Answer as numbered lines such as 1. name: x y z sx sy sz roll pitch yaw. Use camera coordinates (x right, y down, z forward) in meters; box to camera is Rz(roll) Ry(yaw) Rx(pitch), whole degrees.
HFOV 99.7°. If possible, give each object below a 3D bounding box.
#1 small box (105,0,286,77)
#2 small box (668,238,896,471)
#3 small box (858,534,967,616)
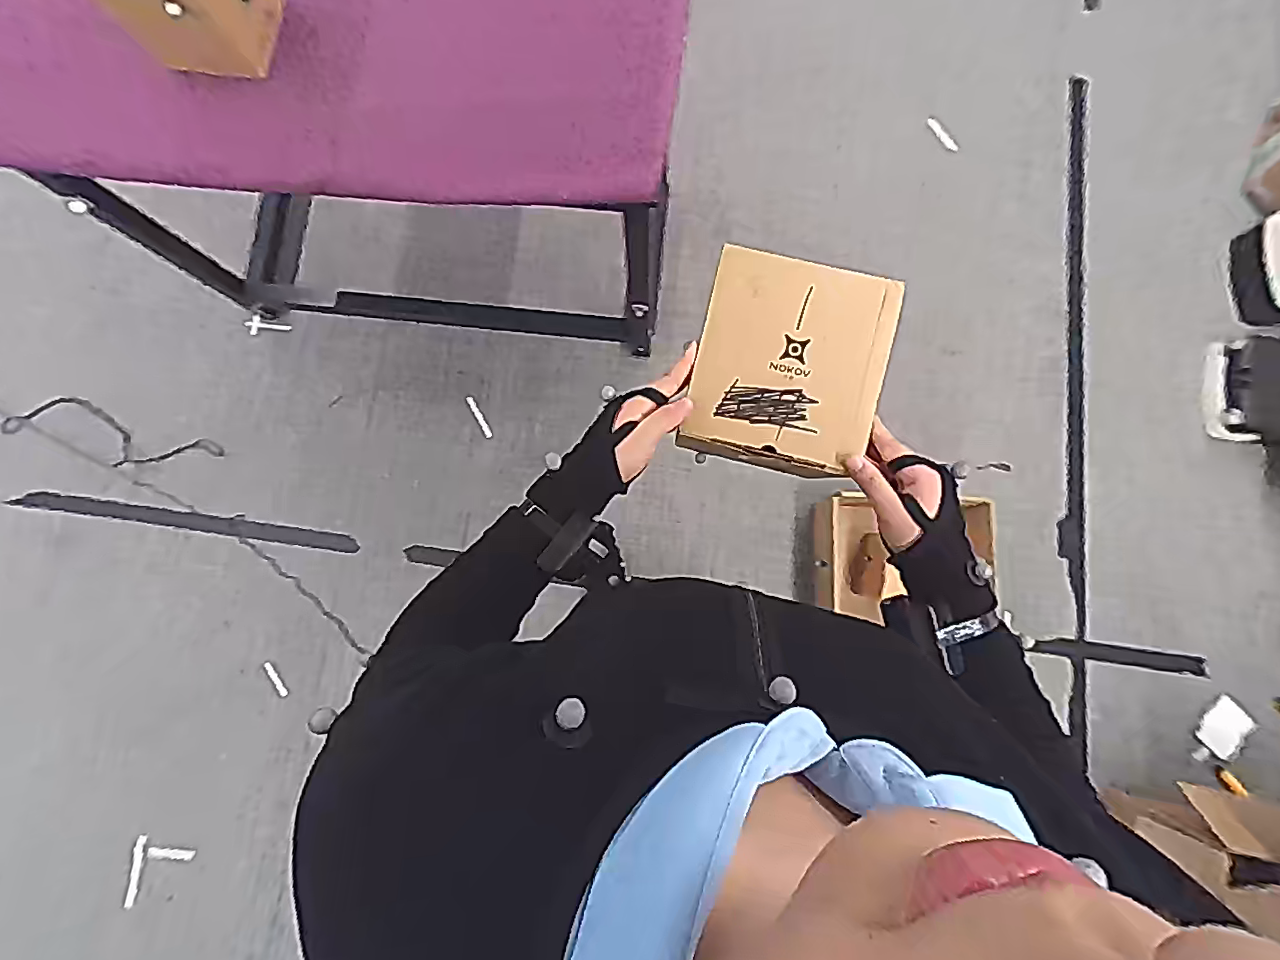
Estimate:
1. small box: -0.694 -0.770 0.836 0.179 0.176 0.168 8 82 2
2. small box: 0.129 -0.110 0.552 0.168 0.176 0.179 13 89 3
3. small box: 0.683 0.233 1.369 0.179 0.176 0.168 13 84 2
